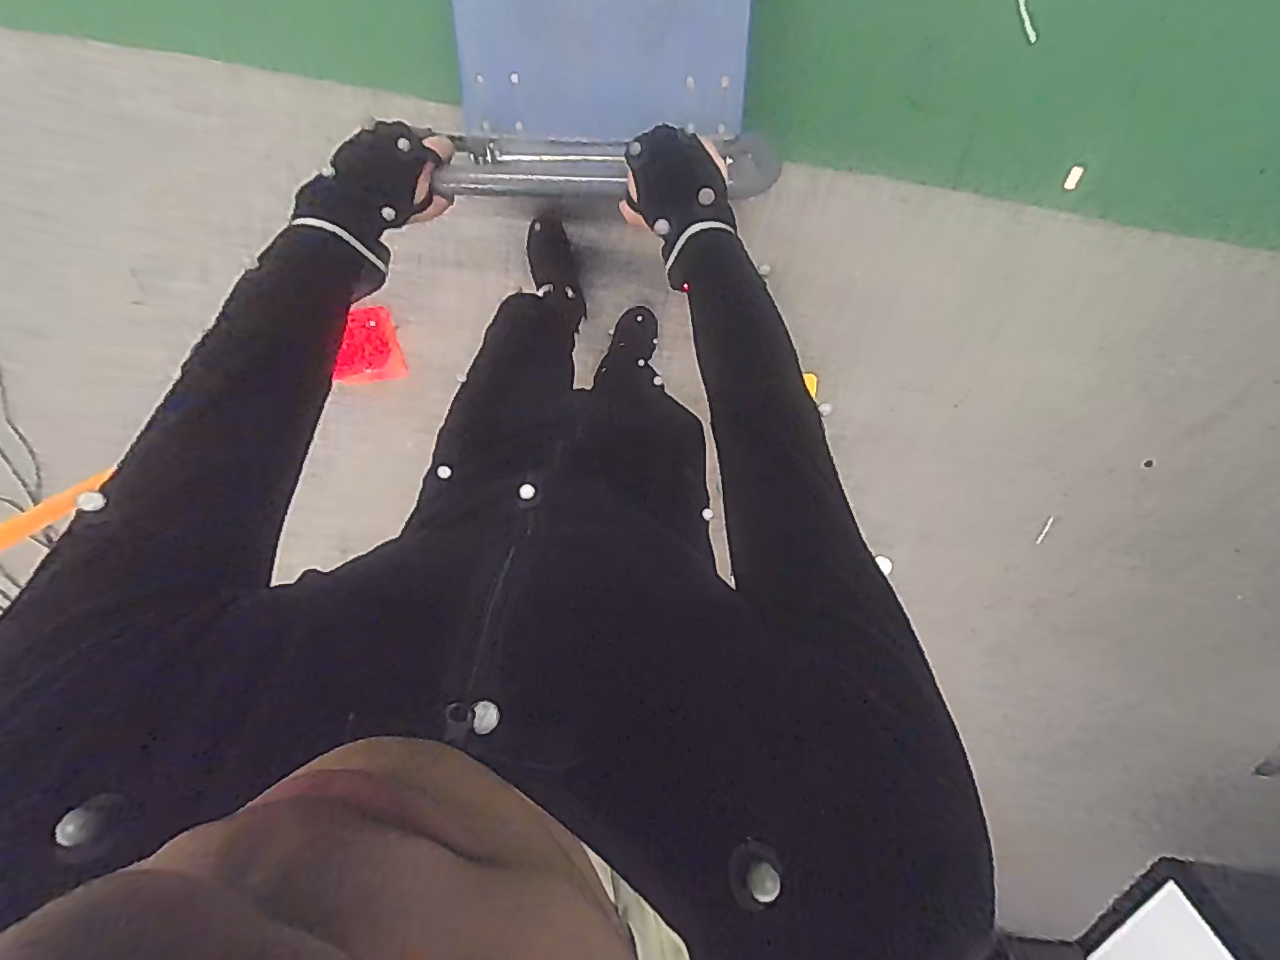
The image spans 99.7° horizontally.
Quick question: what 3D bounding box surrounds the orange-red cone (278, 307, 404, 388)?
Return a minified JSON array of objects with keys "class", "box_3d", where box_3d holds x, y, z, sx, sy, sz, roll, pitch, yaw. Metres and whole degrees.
[{"class":"orange-red cone","box_3d":[-0.775,-0.297,1.346,0.199,0.360,0.198,-4,116,5]}]
